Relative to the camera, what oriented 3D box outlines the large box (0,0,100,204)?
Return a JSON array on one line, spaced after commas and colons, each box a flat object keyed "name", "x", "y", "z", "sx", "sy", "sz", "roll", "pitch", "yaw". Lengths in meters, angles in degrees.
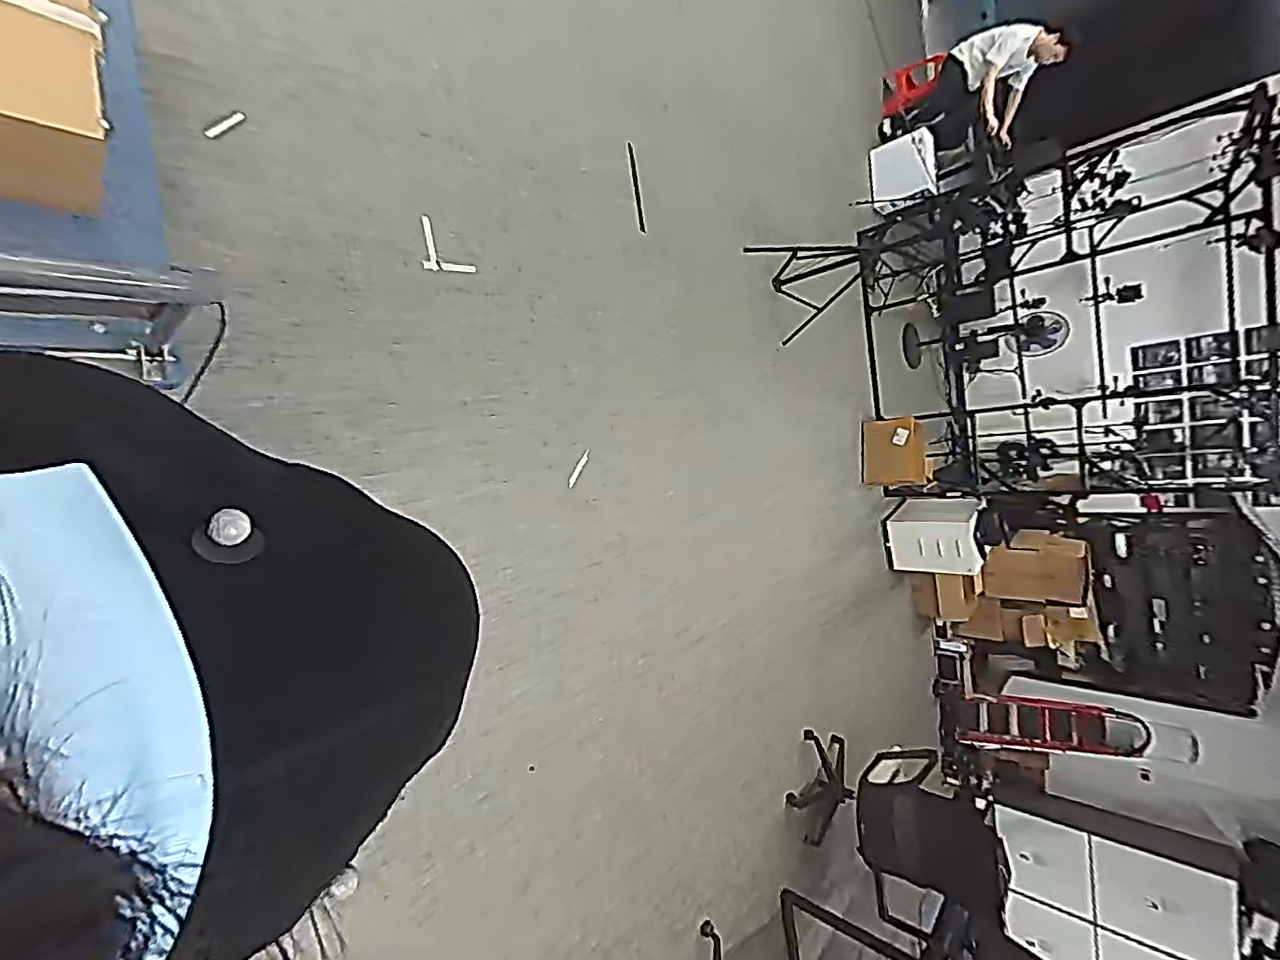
[{"name": "large box", "x": -1.017, "y": -0.622, "z": 0.715, "sx": 0.408, "sy": 0.320, "sz": 0.320, "roll": -7, "pitch": 92, "yaw": -45}]
